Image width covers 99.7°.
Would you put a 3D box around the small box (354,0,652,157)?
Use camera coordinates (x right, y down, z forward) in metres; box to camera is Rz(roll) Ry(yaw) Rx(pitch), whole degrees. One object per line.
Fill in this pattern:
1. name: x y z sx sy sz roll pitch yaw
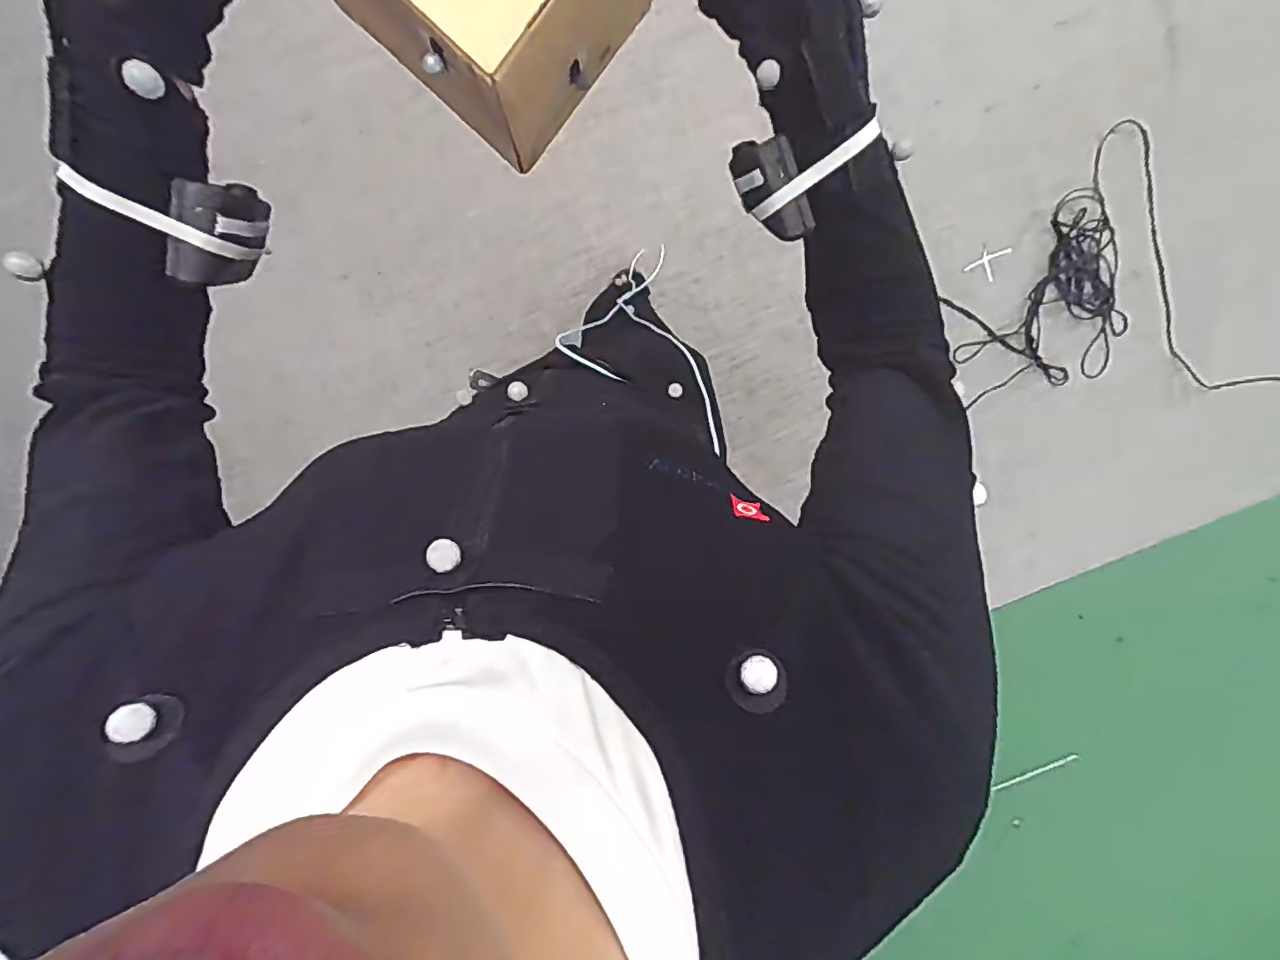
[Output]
1. small box: -0.095 -0.351 0.344 0.179 0.176 0.168 39 97 -15
